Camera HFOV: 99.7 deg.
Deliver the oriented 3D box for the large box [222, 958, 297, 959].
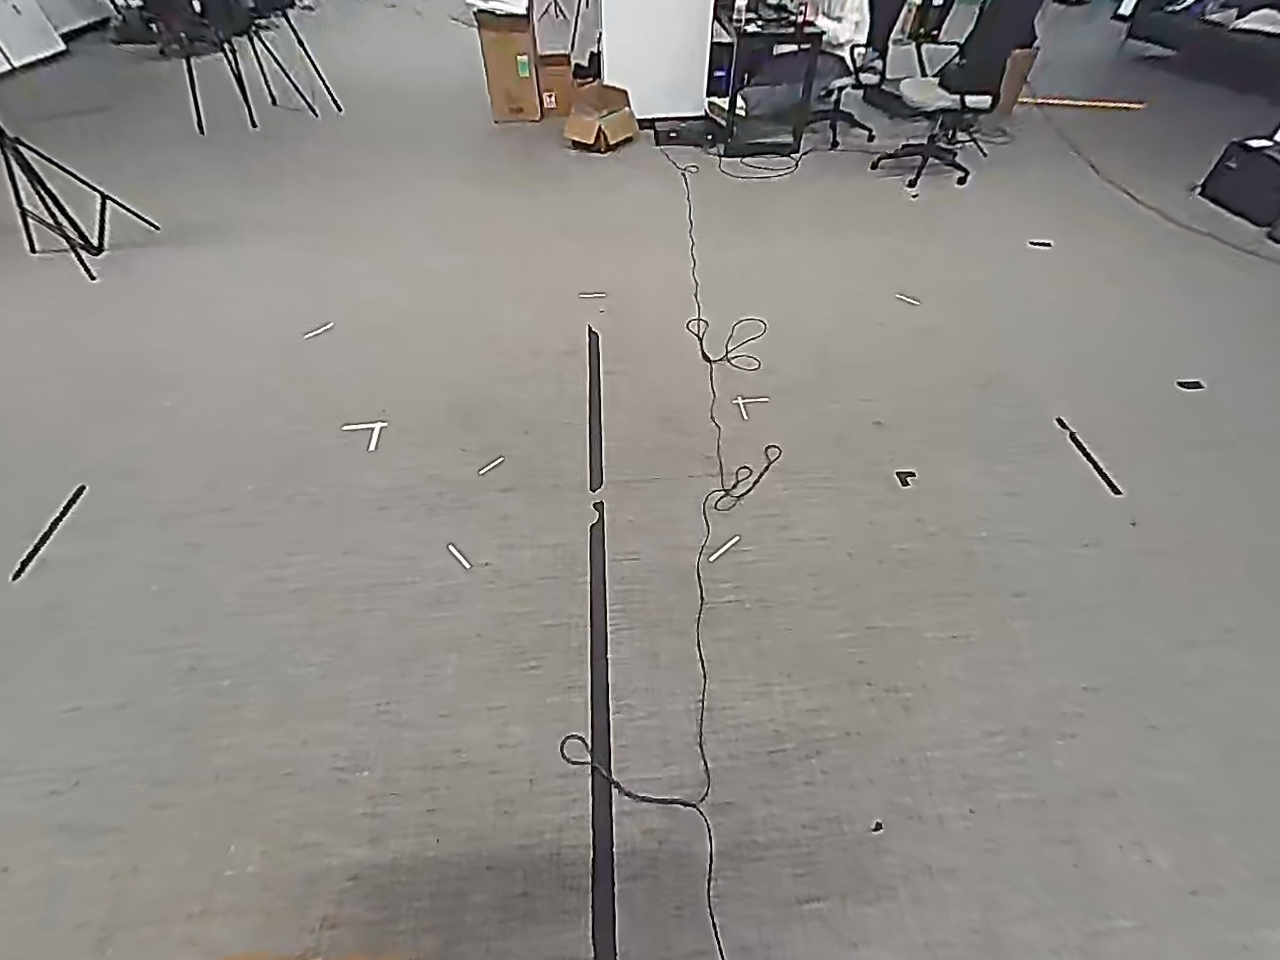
[{"bbox_3d":[-0.487,0.810,0.575,0.320,0.408,0.320,1,73,0],"label":"large box"}]
